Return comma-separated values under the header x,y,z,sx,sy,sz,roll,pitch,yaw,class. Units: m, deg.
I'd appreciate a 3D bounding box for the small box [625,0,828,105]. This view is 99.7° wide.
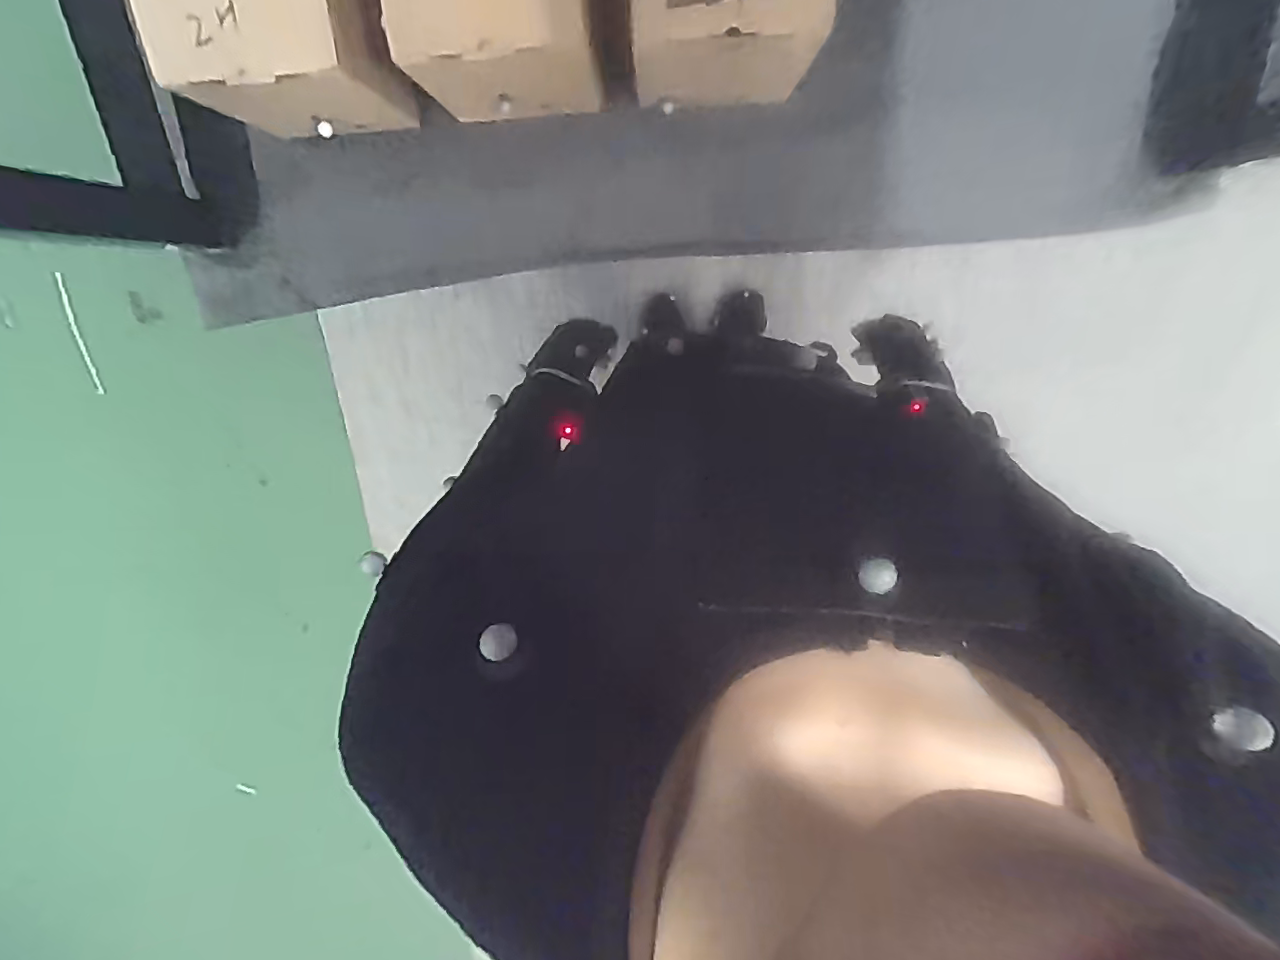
x,y,z,sx,sy,sz,roll,pitch,yaw,class
0.071,-0.467,0.493,0.168,0.176,0.179,-2,108,3,small box
